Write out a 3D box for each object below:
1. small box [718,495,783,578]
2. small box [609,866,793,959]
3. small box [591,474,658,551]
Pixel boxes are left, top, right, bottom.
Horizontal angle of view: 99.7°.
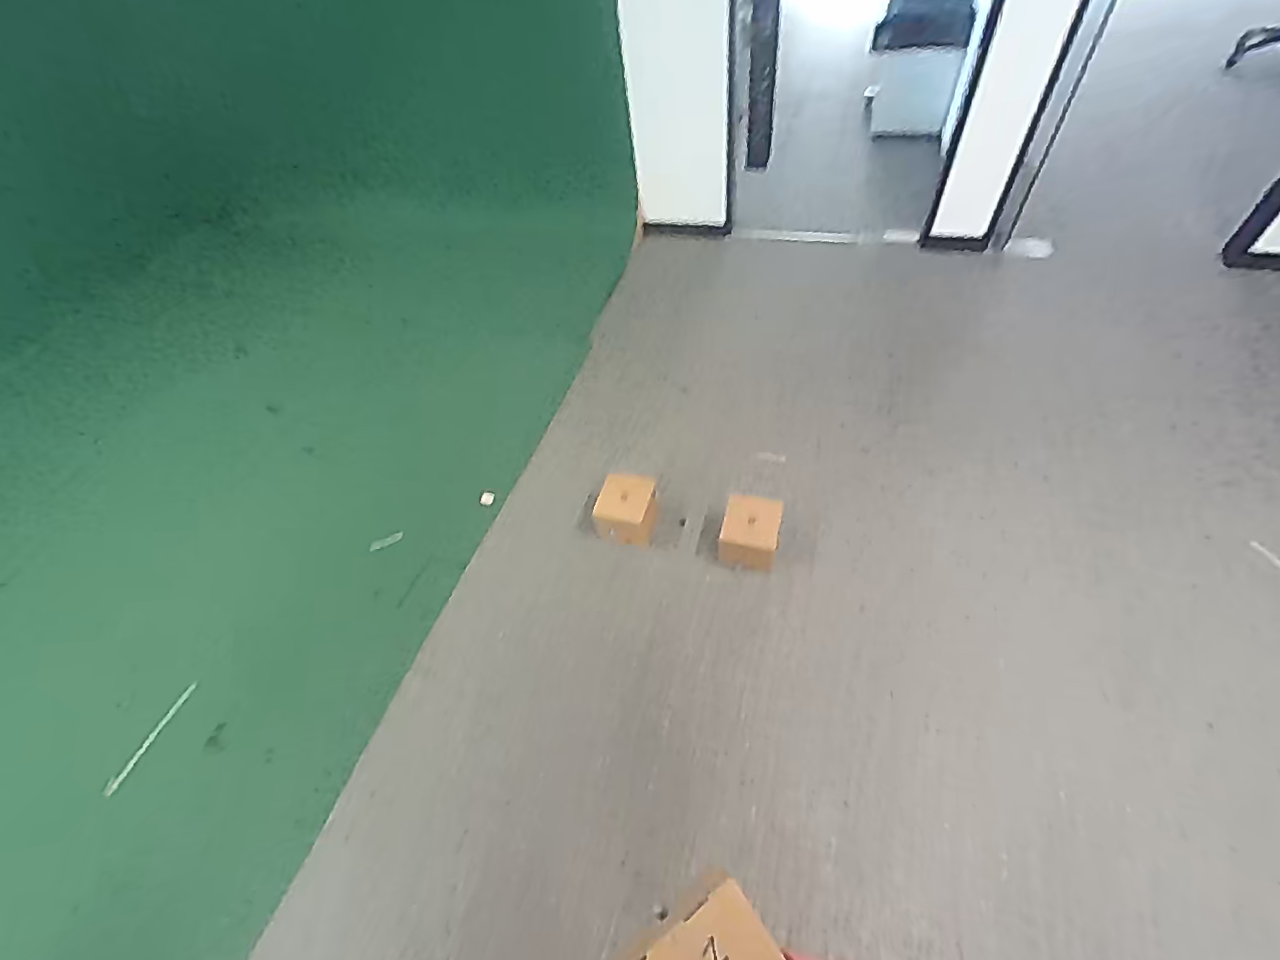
[{"bbox_3d":[0.337,0.175,1.667,0.168,0.176,0.179,10,54,16],"label":"small box"},{"bbox_3d":[0.077,0.519,0.529,0.168,0.176,0.179,-30,62,-17],"label":"small box"},{"bbox_3d":[-0.044,0.109,1.769,0.168,0.176,0.179,10,53,15],"label":"small box"}]
